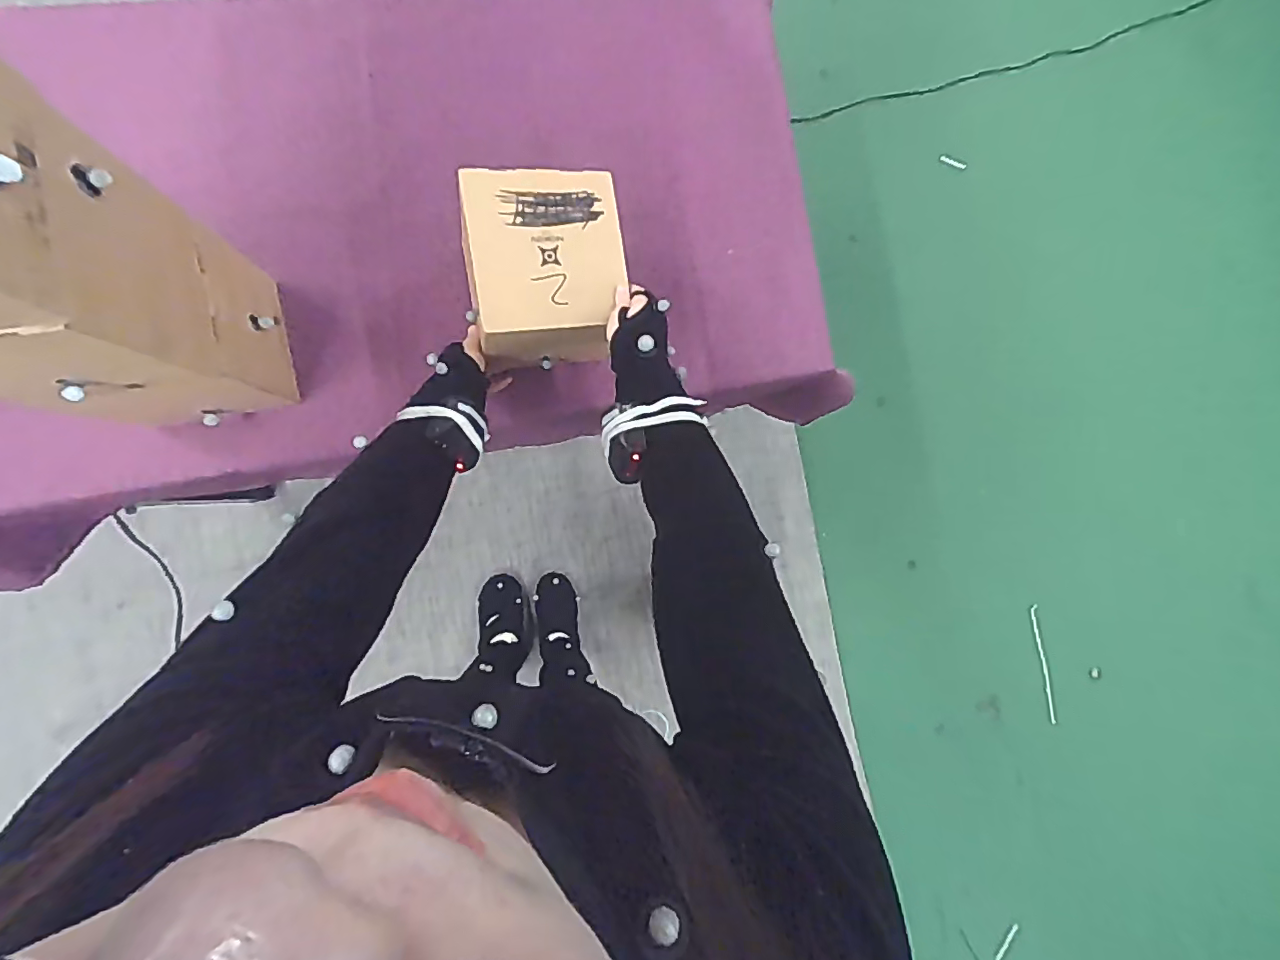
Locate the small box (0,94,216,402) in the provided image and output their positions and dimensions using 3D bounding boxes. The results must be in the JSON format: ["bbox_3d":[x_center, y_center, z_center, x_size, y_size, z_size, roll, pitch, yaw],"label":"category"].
[{"bbox_3d":[-0.496,-0.173,0.442,0.168,0.176,0.179,-11,91,-9],"label":"small box"}]

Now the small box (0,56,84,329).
[{"bbox_3d":[-0.465,-0.178,0.280,0.179,0.176,0.168,-9,90,-10],"label":"small box"}]

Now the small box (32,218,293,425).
[{"bbox_3d":[-0.521,-0.164,0.605,0.179,0.176,0.168,-13,90,-10],"label":"small box"}]

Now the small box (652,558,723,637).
[{"bbox_3d":[0.131,0.307,1.441,0.179,0.176,0.168,-7,90,-10],"label":"small box"}]
